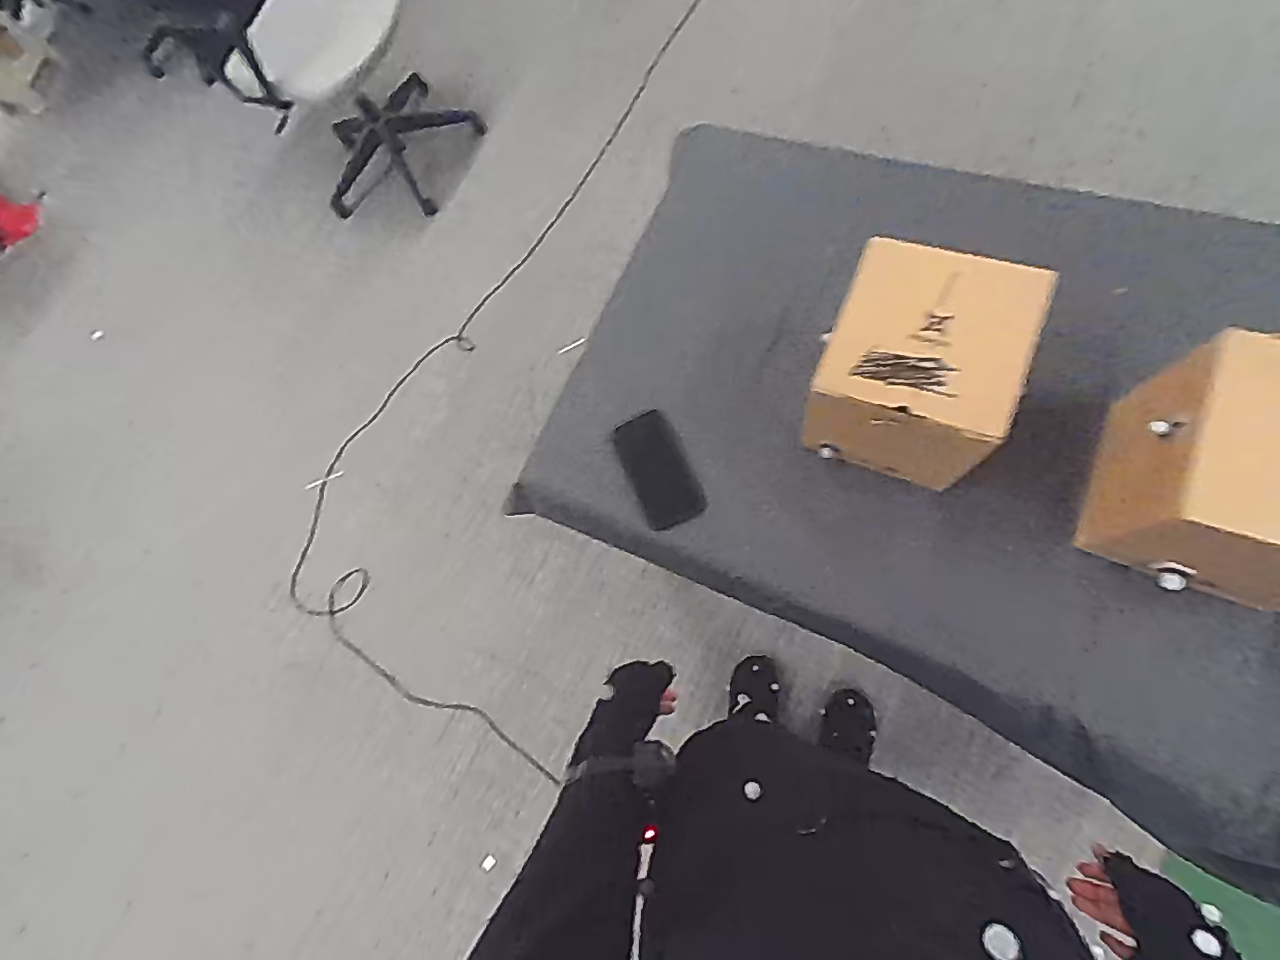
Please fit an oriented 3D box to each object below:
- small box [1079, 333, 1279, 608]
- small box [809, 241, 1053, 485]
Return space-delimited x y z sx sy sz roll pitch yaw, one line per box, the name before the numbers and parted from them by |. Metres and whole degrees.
small box | 0.545 0.002 0.488 0.168 0.176 0.179 20 81 19
small box | 0.290 -0.113 0.578 0.168 0.176 0.179 21 79 18
